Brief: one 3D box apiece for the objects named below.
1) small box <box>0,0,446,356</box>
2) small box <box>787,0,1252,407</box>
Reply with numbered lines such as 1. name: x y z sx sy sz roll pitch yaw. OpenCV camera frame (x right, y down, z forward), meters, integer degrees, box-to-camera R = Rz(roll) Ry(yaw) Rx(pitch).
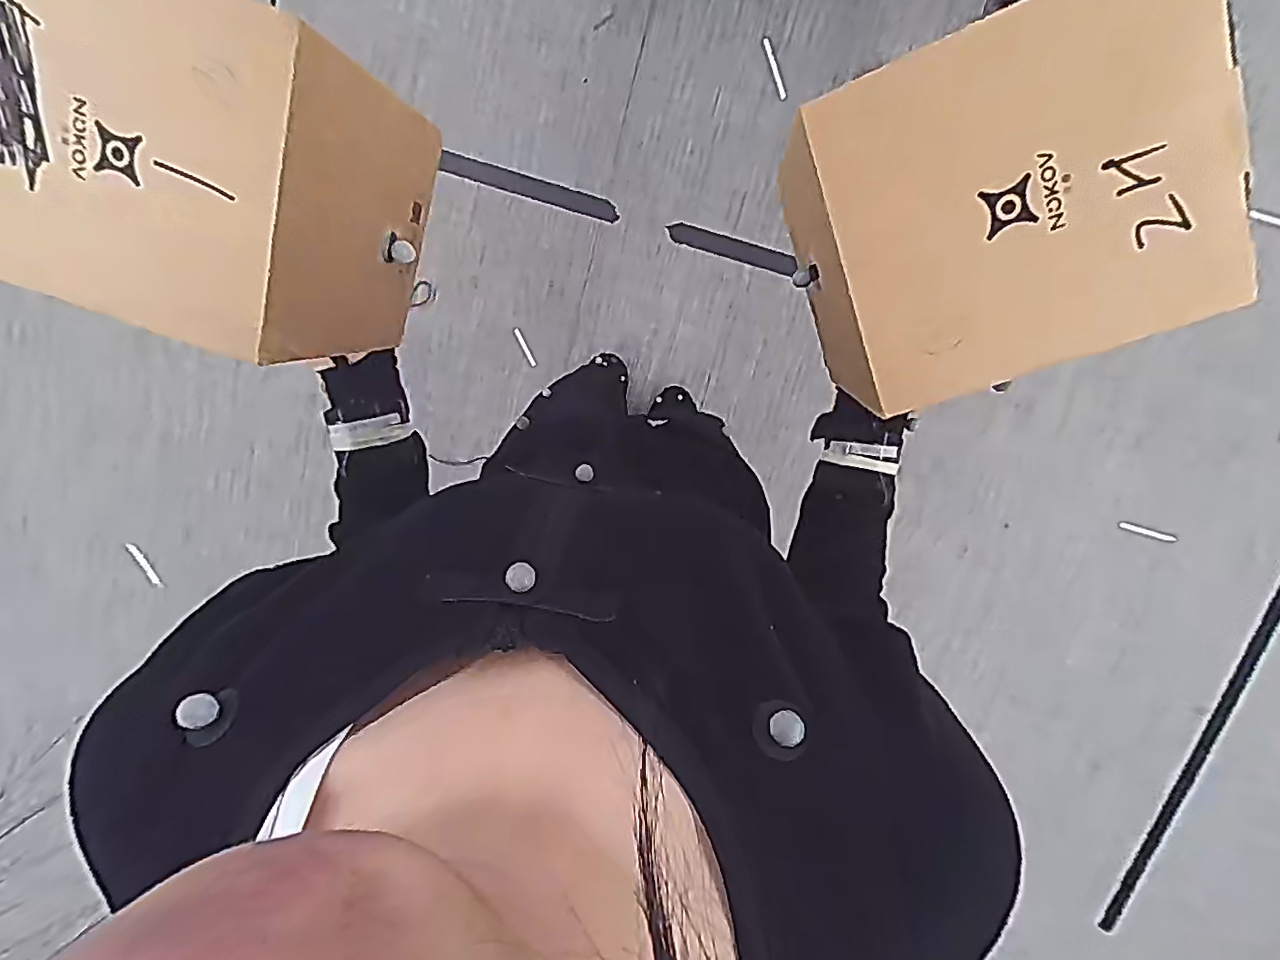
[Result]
1. small box: -0.250 -0.188 0.337 0.179 0.176 0.168 19 108 -4
2. small box: 0.199 -0.160 0.338 0.179 0.176 0.168 -18 104 14
